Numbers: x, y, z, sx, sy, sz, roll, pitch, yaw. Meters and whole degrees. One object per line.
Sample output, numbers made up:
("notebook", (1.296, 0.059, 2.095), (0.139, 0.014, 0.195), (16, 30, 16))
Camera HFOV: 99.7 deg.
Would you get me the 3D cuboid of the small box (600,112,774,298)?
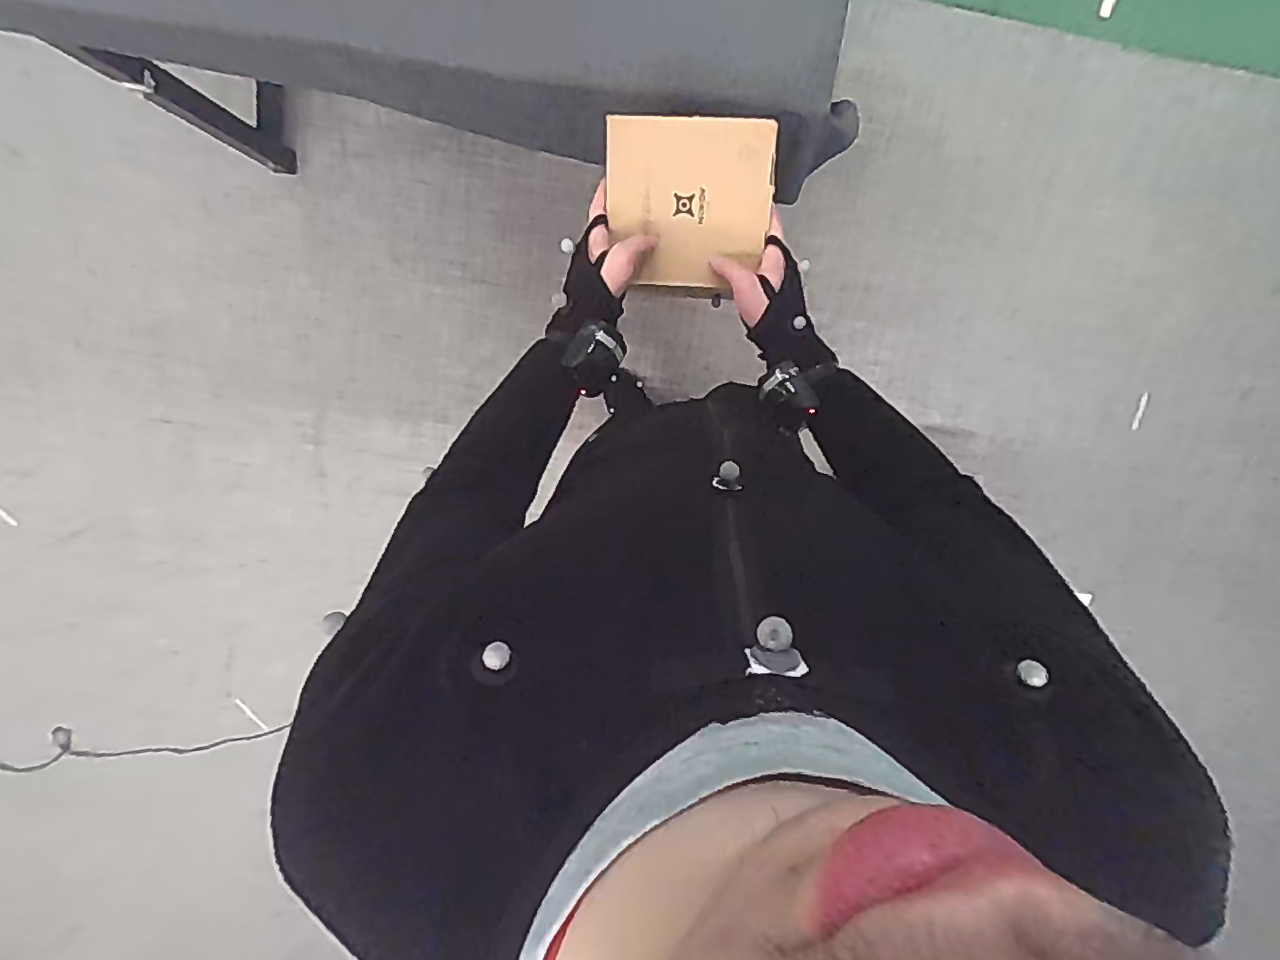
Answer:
("small box", (0.050, -0.310, 0.640), (0.179, 0.176, 0.168), (2, 104, 4))
